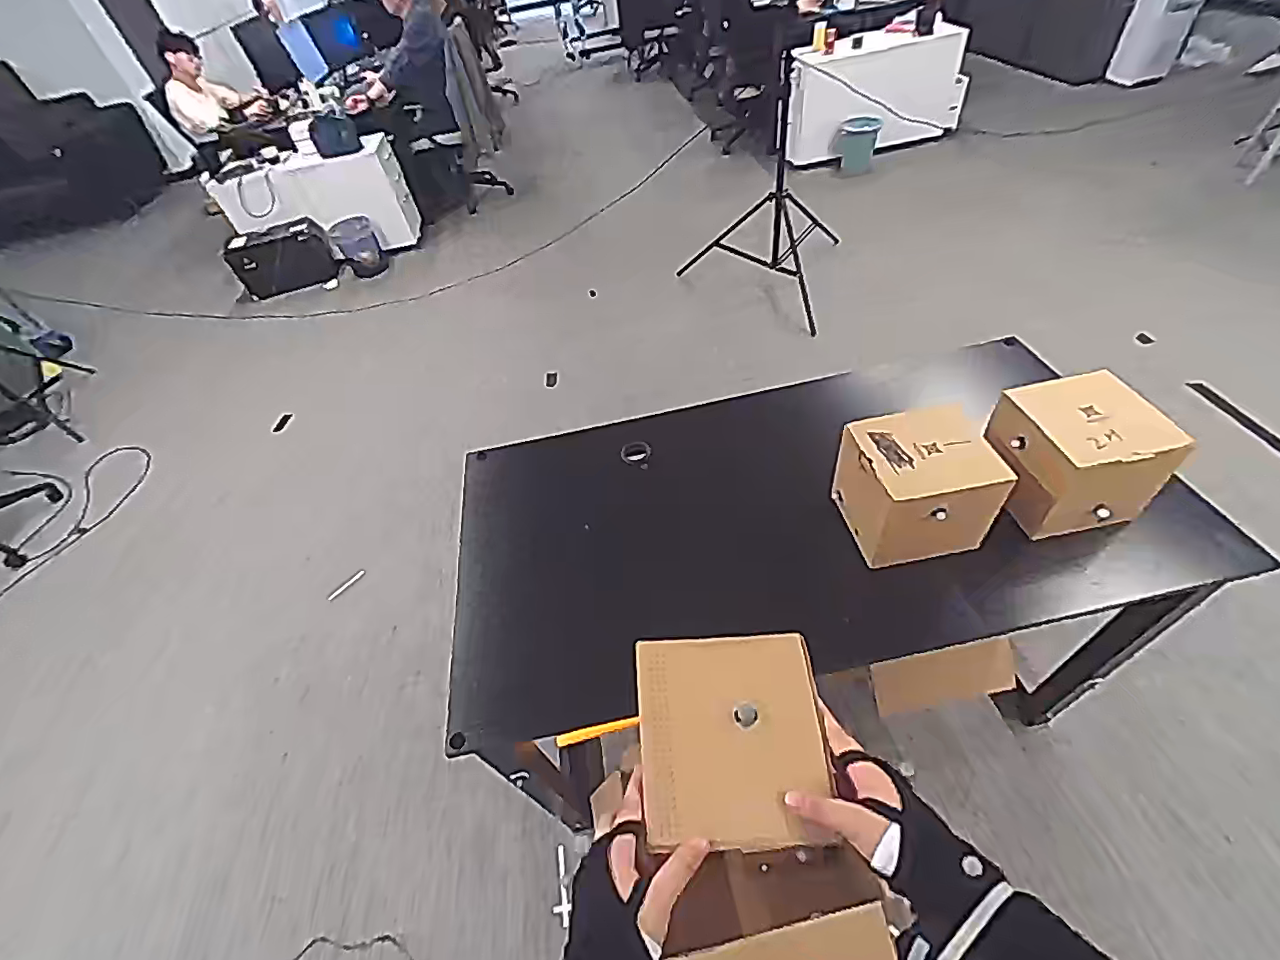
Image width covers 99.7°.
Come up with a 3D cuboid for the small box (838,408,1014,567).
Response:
[{"bbox_3d":[0.421,0.017,0.838,0.179,0.176,0.168,-10,47,0],"label":"small box"}]

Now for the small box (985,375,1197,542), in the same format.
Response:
[{"bbox_3d":[0.663,-0.032,0.836,0.168,0.176,0.179,-11,47,1],"label":"small box"}]
